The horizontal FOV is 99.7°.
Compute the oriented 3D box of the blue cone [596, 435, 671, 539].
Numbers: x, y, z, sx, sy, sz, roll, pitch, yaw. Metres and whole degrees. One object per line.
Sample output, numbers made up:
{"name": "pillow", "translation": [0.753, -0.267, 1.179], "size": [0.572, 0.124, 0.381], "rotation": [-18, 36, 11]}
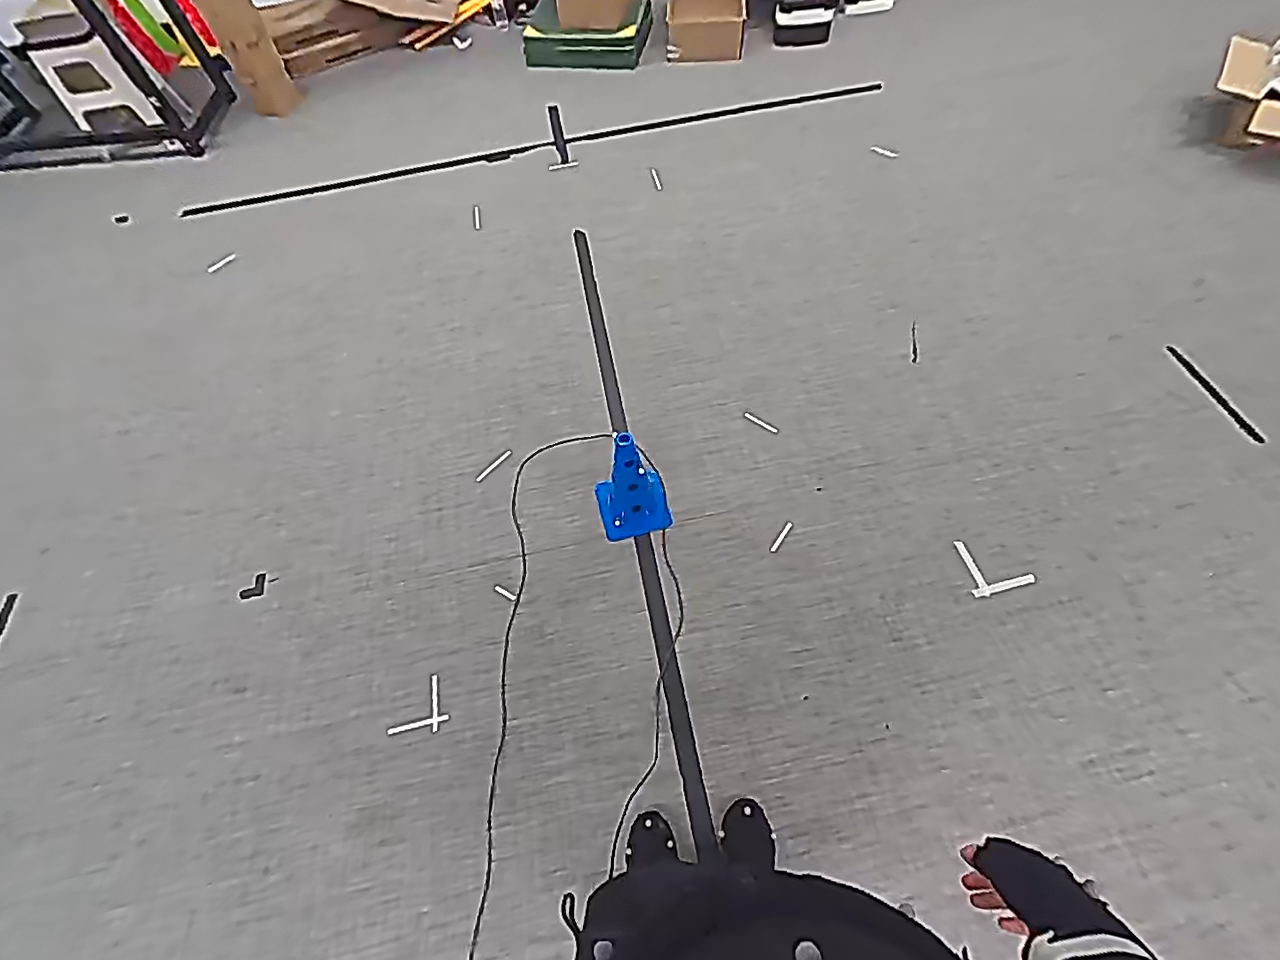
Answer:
{"name": "blue cone", "translation": [-0.024, -0.009, 1.442], "size": [0.192, 0.380, 0.193], "rotation": [-16, 62, -6]}
